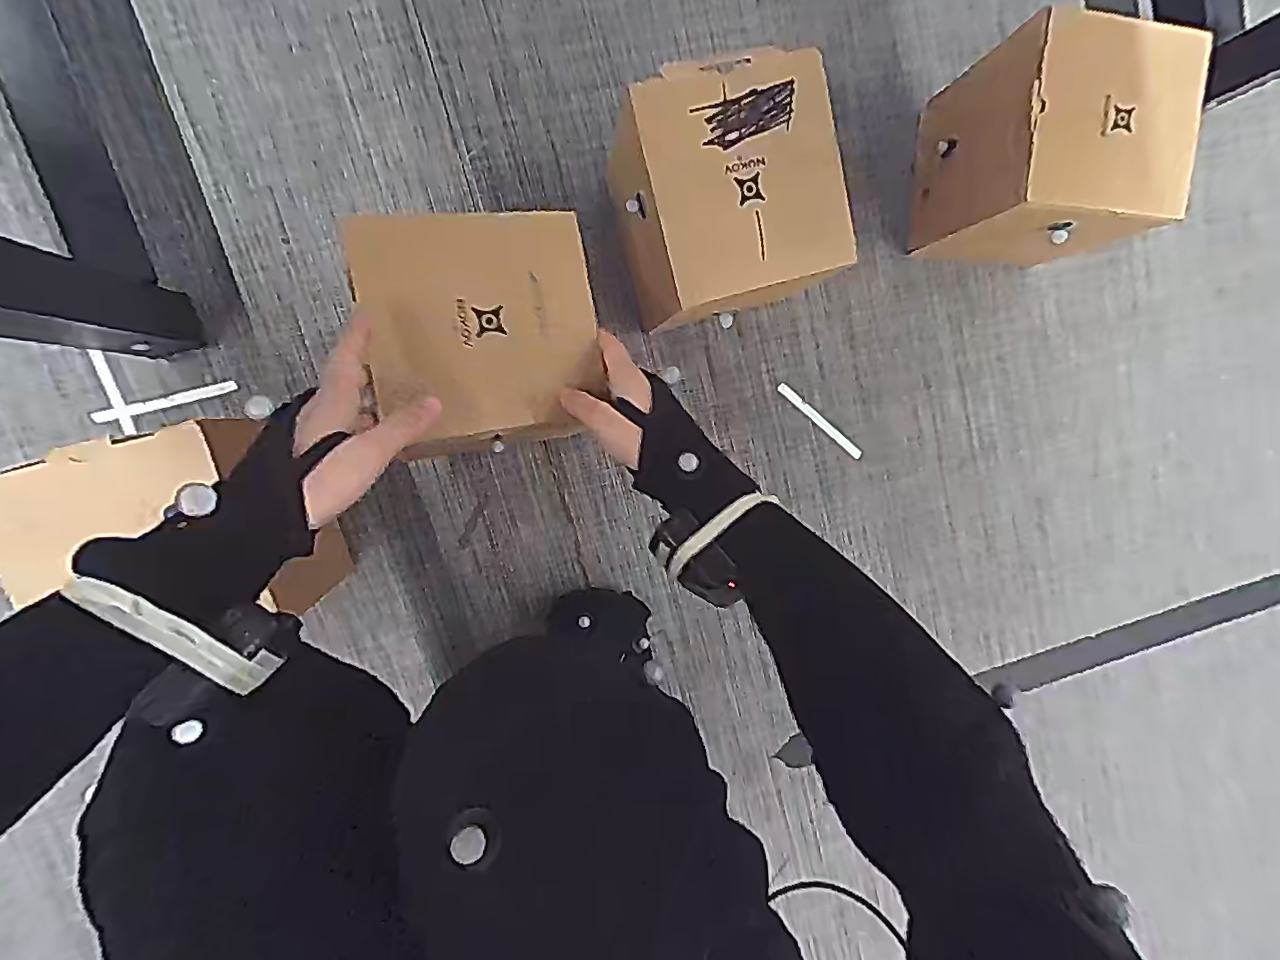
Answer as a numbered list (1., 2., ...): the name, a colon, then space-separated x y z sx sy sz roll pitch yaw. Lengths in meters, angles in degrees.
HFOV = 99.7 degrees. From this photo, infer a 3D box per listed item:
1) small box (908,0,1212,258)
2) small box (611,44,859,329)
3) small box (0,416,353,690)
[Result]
1. small box: 0.420 -0.343 0.568 0.179 0.176 0.168 1 97 -9
2. small box: 0.076 -0.261 0.520 0.168 0.176 0.179 -17 100 -7
3. small box: -0.391 0.048 0.484 0.168 0.176 0.179 -16 98 -7
